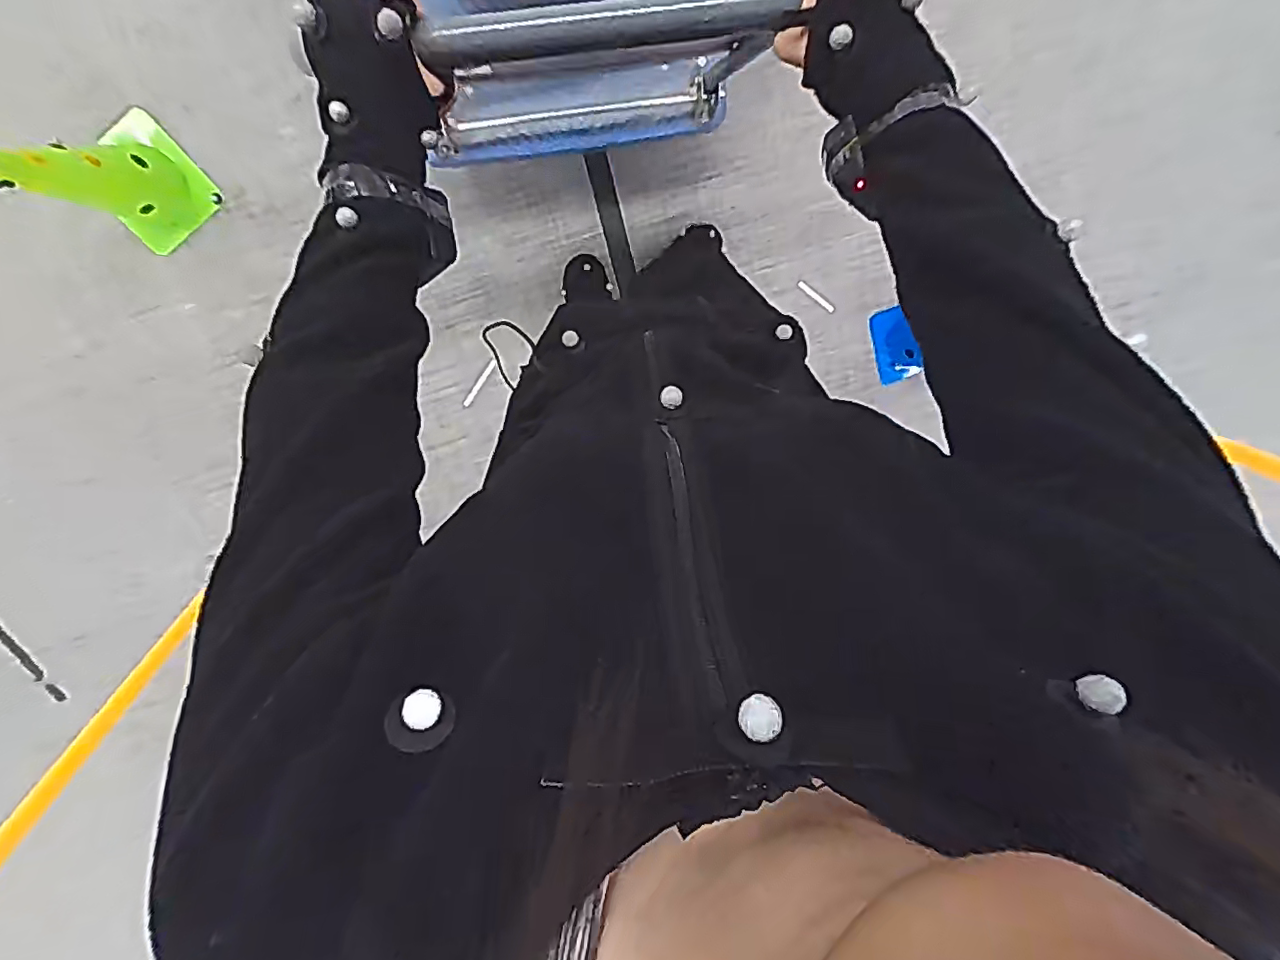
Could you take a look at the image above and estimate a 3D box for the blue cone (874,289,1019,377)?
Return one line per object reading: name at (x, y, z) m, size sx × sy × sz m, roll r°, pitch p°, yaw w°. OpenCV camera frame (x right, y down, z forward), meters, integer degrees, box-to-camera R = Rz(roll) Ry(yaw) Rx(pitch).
blue cone at (0.734, -0.316, 1.265) m, size 0.193 × 0.380 × 0.192 m, roll -21°, pitch 113°, yaw 1°
